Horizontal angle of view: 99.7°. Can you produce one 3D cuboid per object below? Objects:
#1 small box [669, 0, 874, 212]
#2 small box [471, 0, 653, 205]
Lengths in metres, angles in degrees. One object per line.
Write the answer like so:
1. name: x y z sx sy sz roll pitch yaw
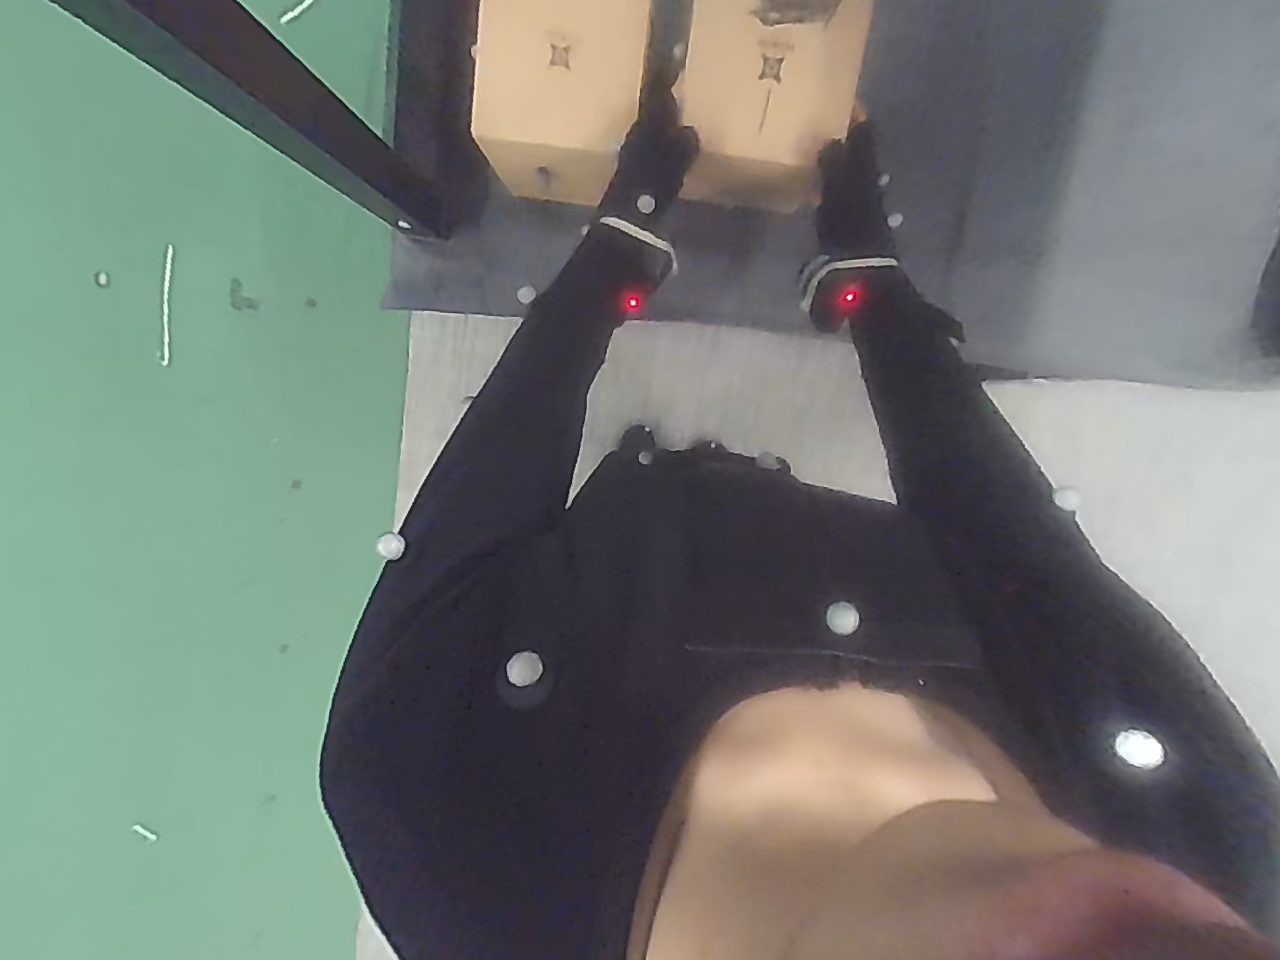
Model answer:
1. small box: 0.125 -0.414 0.584 0.168 0.176 0.179 8 103 -1
2. small box: -0.076 -0.430 0.601 0.168 0.176 0.179 7 98 0
